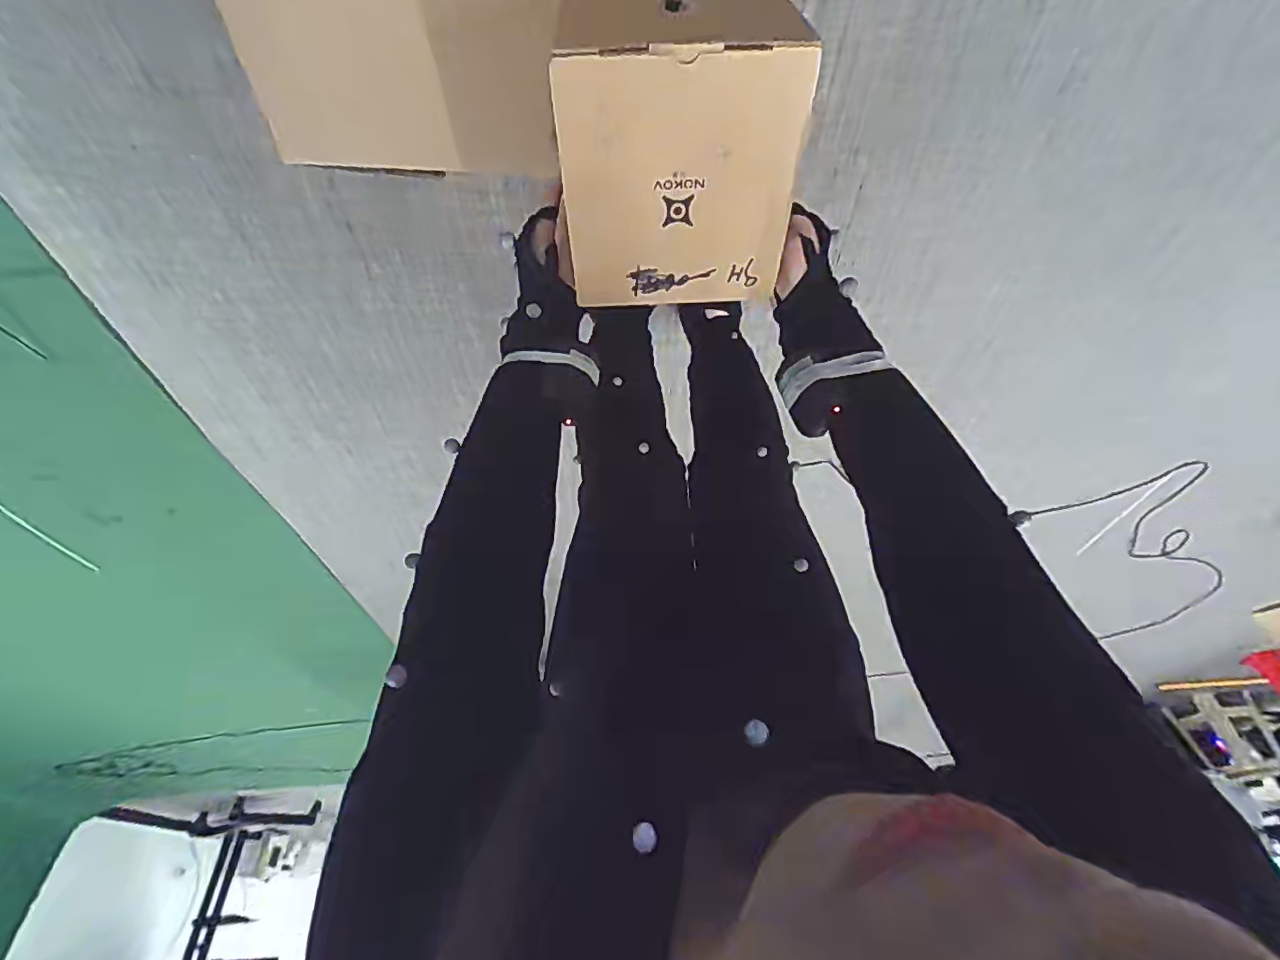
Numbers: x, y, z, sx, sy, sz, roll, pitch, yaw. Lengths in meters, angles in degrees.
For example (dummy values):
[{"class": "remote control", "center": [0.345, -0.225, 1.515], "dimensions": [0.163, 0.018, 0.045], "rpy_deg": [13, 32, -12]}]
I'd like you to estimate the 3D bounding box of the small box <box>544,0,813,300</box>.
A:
[{"class": "small box", "center": [0.019, -0.270, 0.432], "dimensions": [0.168, 0.176, 0.179], "rpy_deg": [-2, 142, -1]}]
